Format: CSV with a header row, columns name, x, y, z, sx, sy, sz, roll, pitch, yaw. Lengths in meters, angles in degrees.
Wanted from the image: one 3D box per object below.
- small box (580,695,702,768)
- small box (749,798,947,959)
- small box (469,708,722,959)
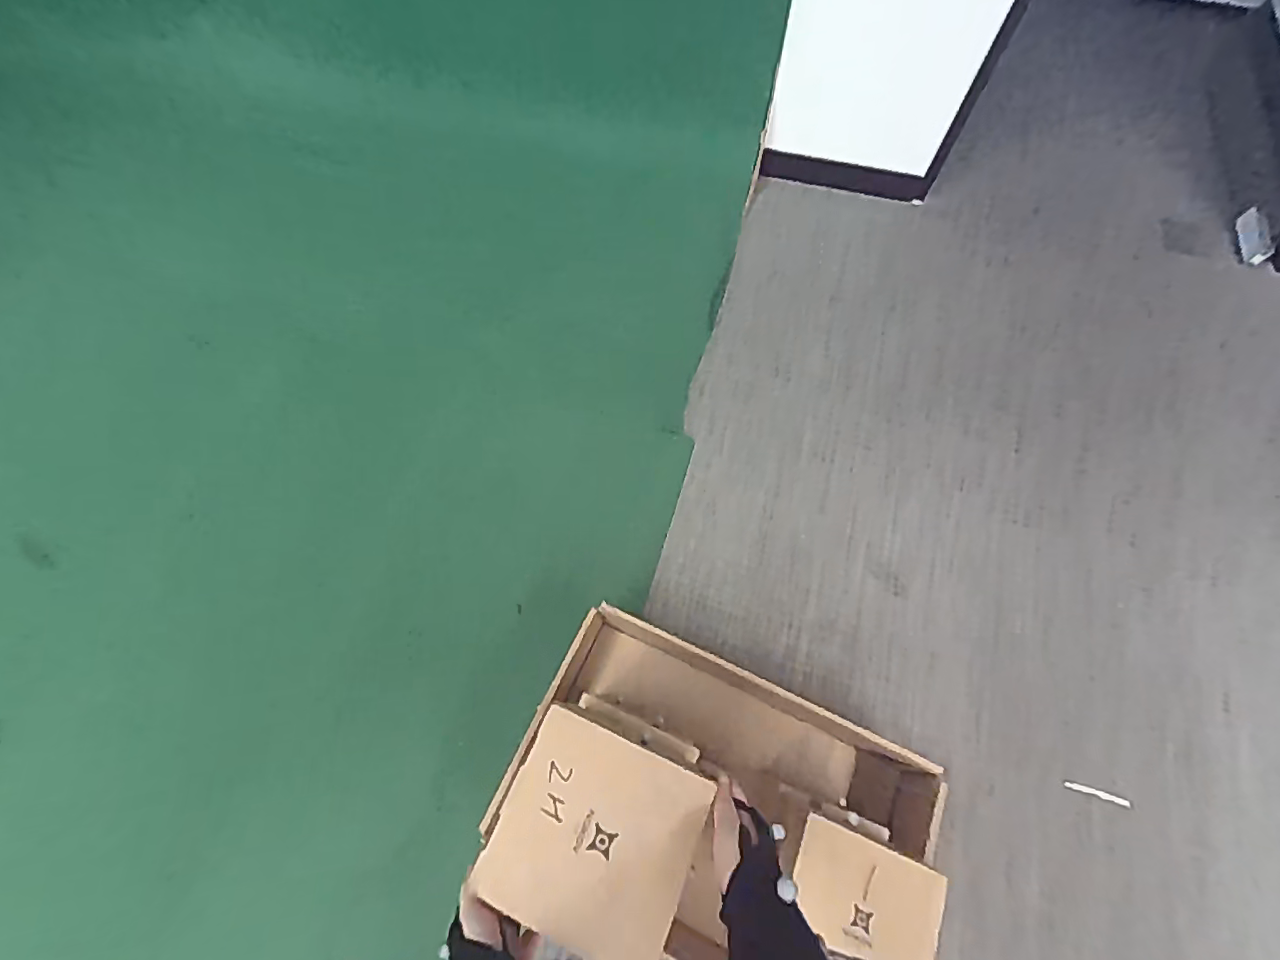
name,x,y,z,sx,sy,sz,roll,pitch,yaw
small box,-0.032,0.412,0.735,0.168,0.176,0.179,23,70,10
small box,0.245,0.532,0.675,0.168,0.176,0.179,22,68,11
small box,-0.034,0.349,0.550,0.179,0.176,0.168,22,68,12
